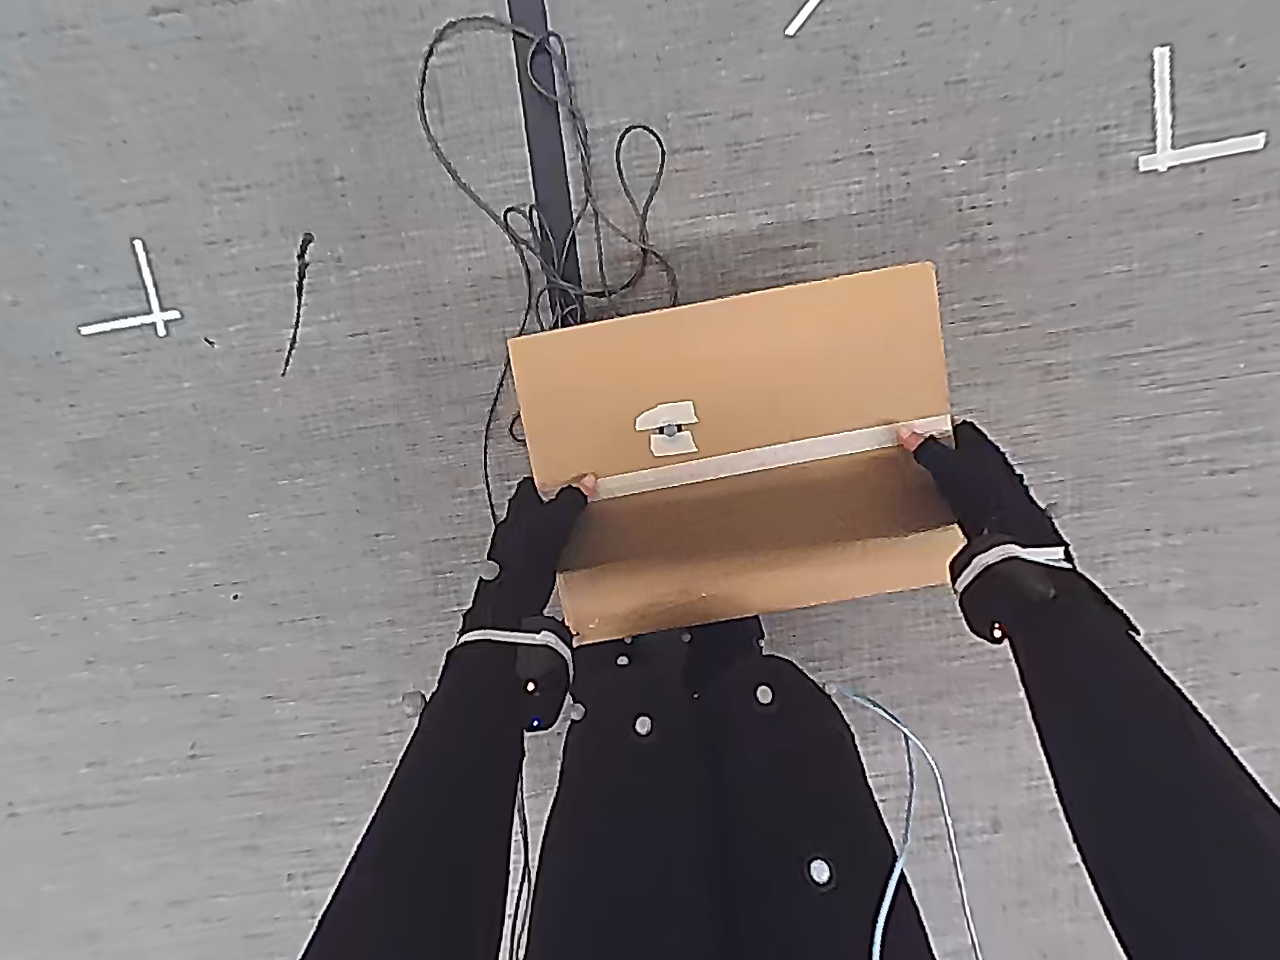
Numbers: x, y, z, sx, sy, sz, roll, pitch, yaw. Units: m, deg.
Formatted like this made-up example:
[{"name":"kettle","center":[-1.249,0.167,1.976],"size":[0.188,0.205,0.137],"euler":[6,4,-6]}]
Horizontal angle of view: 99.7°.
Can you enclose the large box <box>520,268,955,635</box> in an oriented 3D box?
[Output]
[{"name":"large box","center":[0.107,-0.040,0.689],"size":[0.408,0.320,0.320],"euler":[-10,97,3]}]
